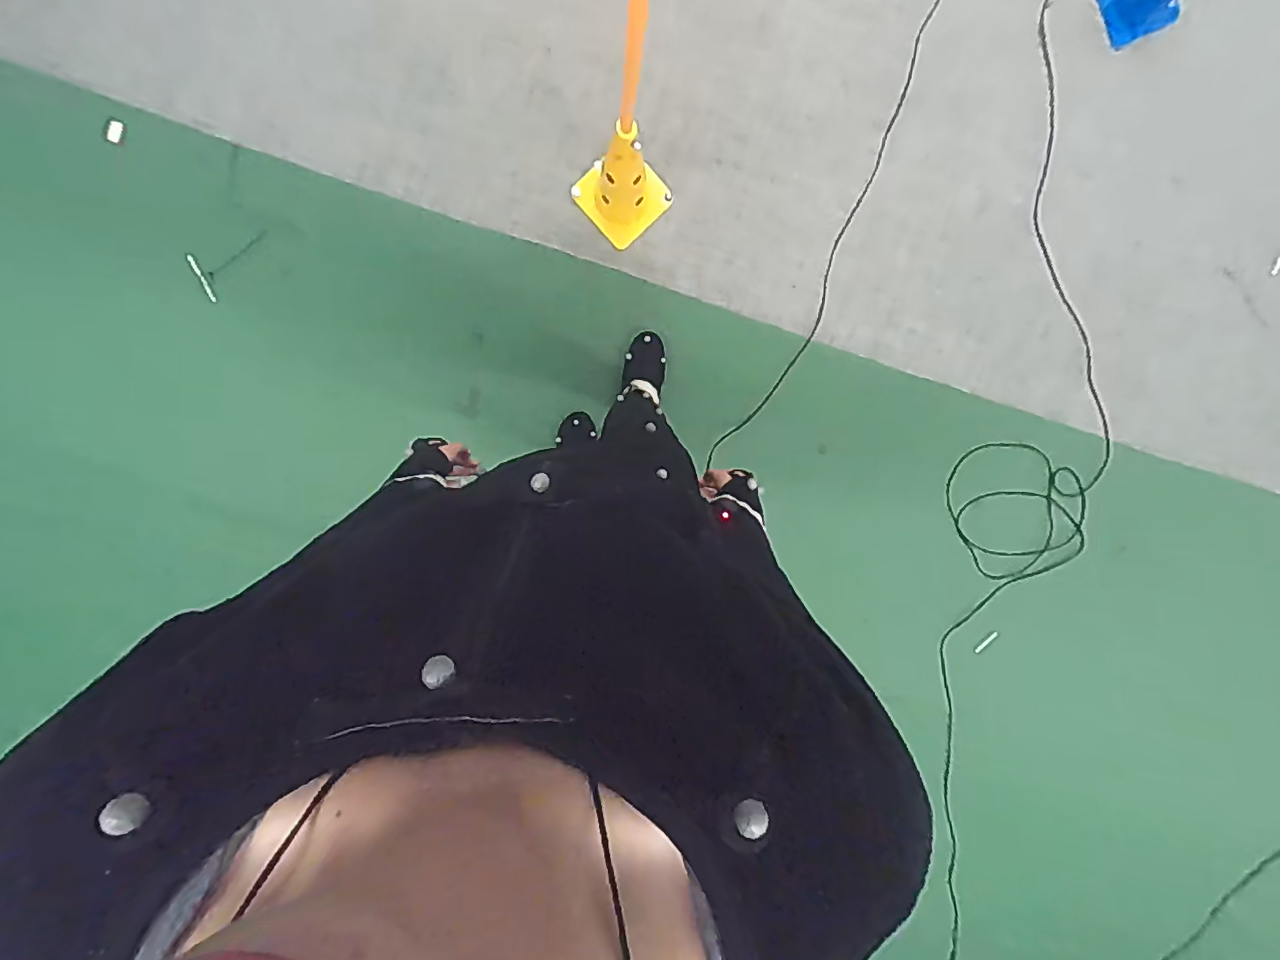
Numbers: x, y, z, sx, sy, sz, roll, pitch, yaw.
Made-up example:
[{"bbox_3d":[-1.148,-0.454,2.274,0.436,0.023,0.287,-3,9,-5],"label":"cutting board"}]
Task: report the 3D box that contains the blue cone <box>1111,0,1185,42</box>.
[{"bbox_3d":[1.311,-1.235,1.223,0.193,0.380,0.192,-28,98,-2],"label":"blue cone"}]
